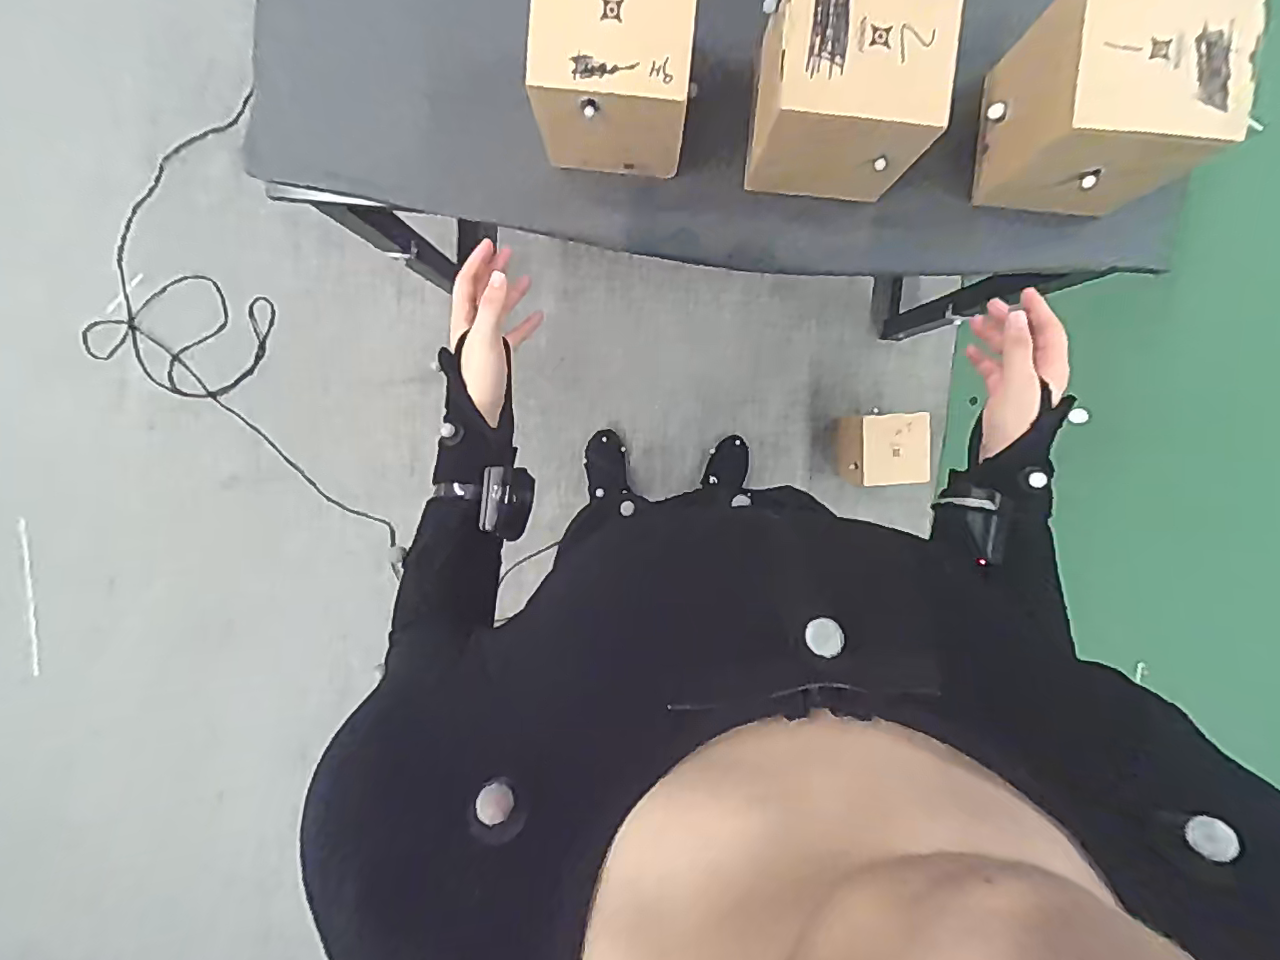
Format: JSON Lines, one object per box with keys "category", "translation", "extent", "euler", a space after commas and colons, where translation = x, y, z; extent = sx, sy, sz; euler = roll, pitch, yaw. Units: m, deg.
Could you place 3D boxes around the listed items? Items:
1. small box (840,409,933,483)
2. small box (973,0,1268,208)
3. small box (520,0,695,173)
{"category": "small box", "translation": [0.625, -0.092, 1.386], "extent": [0.168, 0.176, 0.179], "euler": [-3, 97, 0]}
{"category": "small box", "translation": [0.519, -0.428, 0.608], "extent": [0.179, 0.176, 0.168], "euler": [6, 93, 1]}
{"category": "small box", "translation": [-0.028, -0.483, 0.609], "extent": [0.168, 0.176, 0.179], "euler": [7, 95, 0]}
